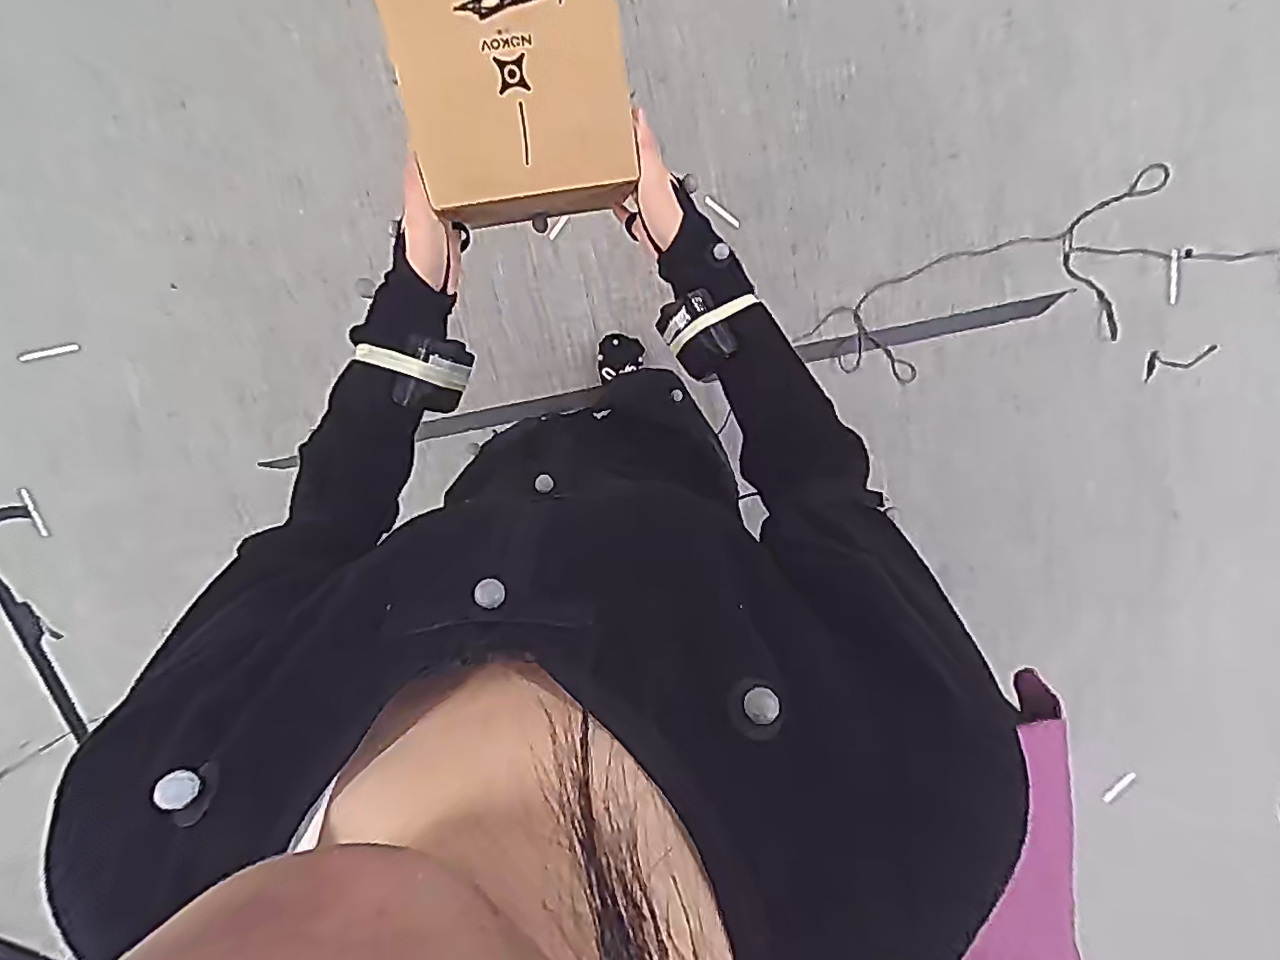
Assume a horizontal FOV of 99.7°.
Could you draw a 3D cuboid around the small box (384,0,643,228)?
[{"bbox_3d":[-0.098,-0.328,0.461,0.168,0.176,0.179,-10,111,-3],"label":"small box"}]
